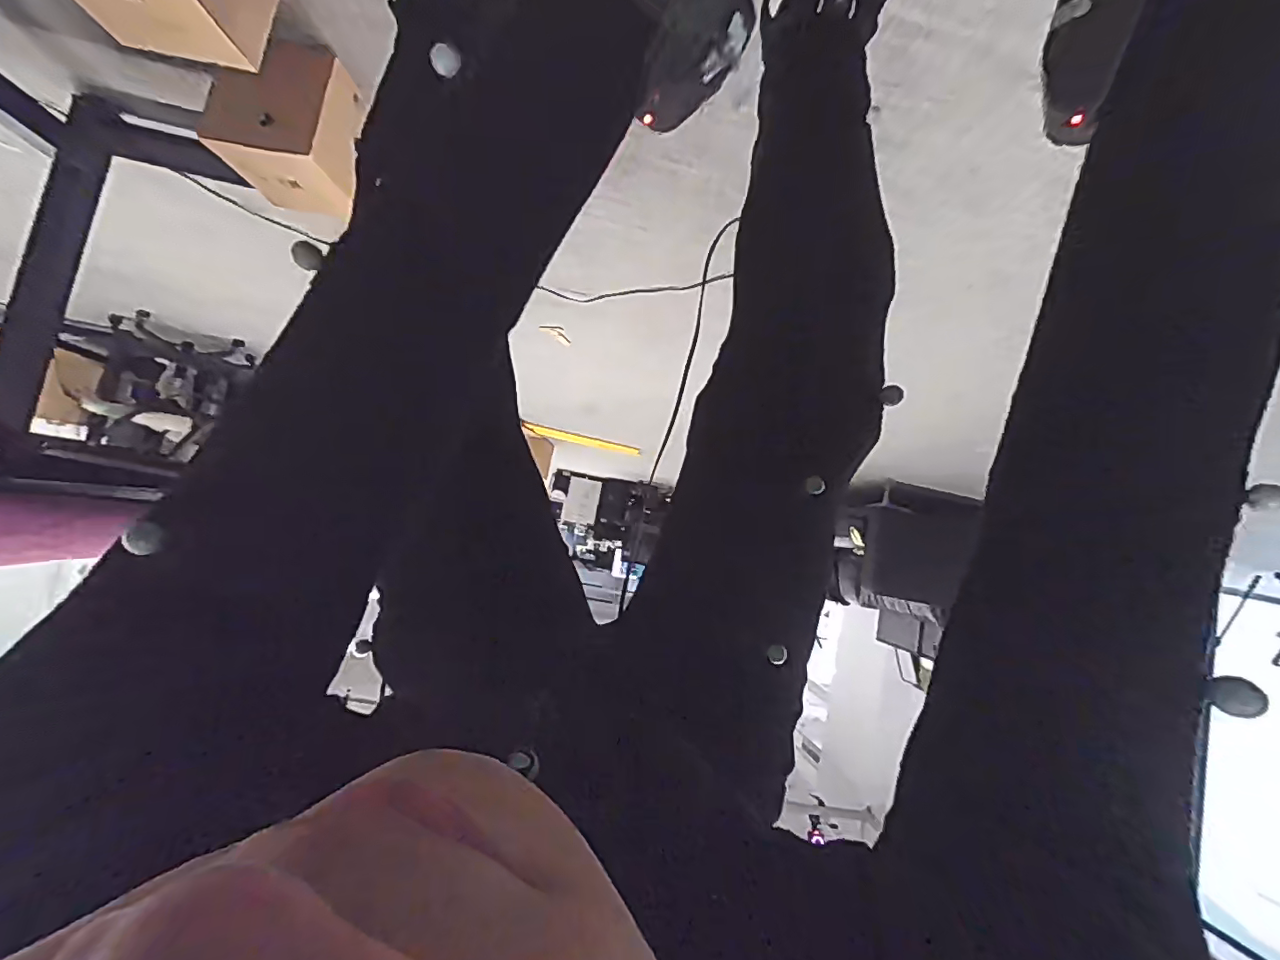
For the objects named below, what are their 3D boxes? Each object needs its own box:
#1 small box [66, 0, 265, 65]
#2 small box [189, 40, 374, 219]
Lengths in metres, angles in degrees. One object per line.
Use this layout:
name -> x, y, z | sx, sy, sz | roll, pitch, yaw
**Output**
small box -> -0.504, -0.572, 0.534 | 0.168, 0.176, 0.179 | 11, 175, -1
small box -> -0.543, -0.546, 0.848 | 0.179, 0.176, 0.168 | 10, 174, 1
